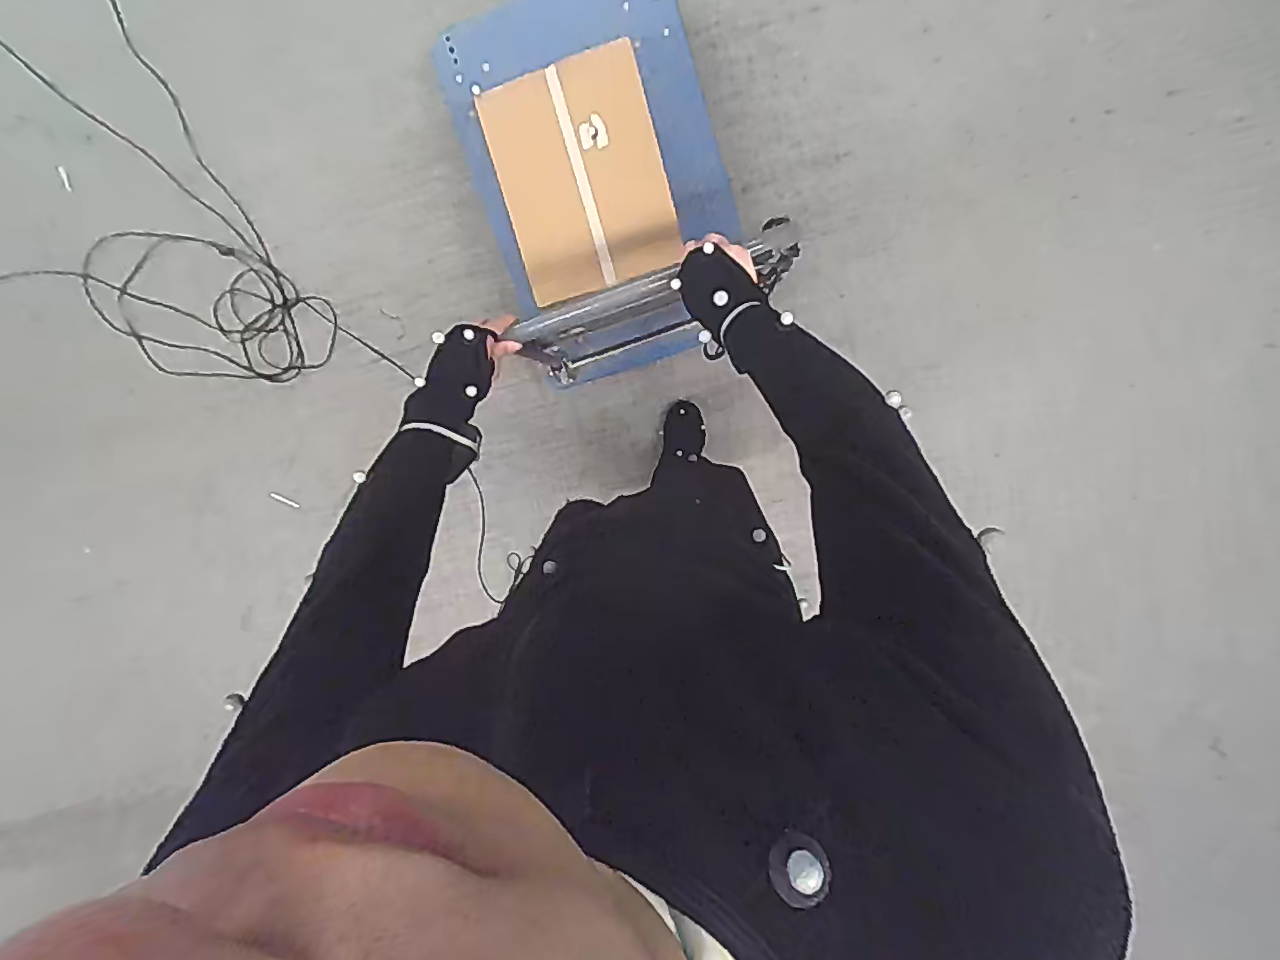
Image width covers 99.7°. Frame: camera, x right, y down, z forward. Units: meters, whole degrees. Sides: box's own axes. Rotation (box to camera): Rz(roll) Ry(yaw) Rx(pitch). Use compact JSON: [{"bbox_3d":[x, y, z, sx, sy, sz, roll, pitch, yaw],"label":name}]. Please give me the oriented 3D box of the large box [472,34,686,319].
[{"bbox_3d":[-0.099,-0.602,1.164,0.320,0.320,0.408,-15,99,7],"label":"large box"}]
